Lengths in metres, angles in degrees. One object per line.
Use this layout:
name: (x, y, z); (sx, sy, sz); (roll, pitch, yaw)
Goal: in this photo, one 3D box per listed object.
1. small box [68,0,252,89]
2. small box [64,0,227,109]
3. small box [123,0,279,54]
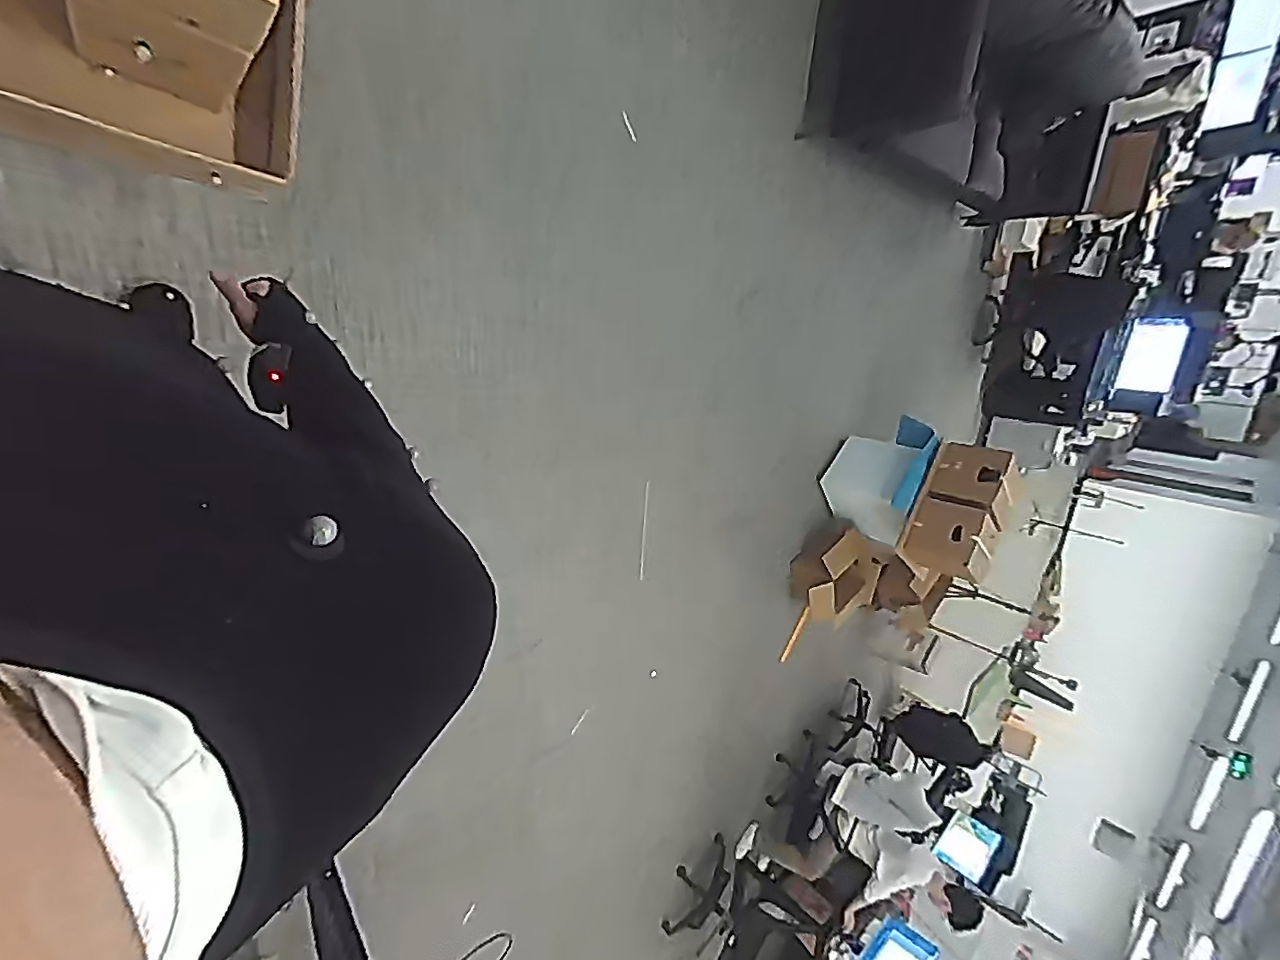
small box: (-0.571, -0.618, 0.646); (0.168, 0.176, 0.179); (1, 104, -43)
small box: (-0.680, -0.663, 0.759); (0.168, 0.176, 0.179); (2, 102, -44)
small box: (-0.461, -0.578, 0.532); (0.168, 0.176, 0.179); (2, 103, -43)
